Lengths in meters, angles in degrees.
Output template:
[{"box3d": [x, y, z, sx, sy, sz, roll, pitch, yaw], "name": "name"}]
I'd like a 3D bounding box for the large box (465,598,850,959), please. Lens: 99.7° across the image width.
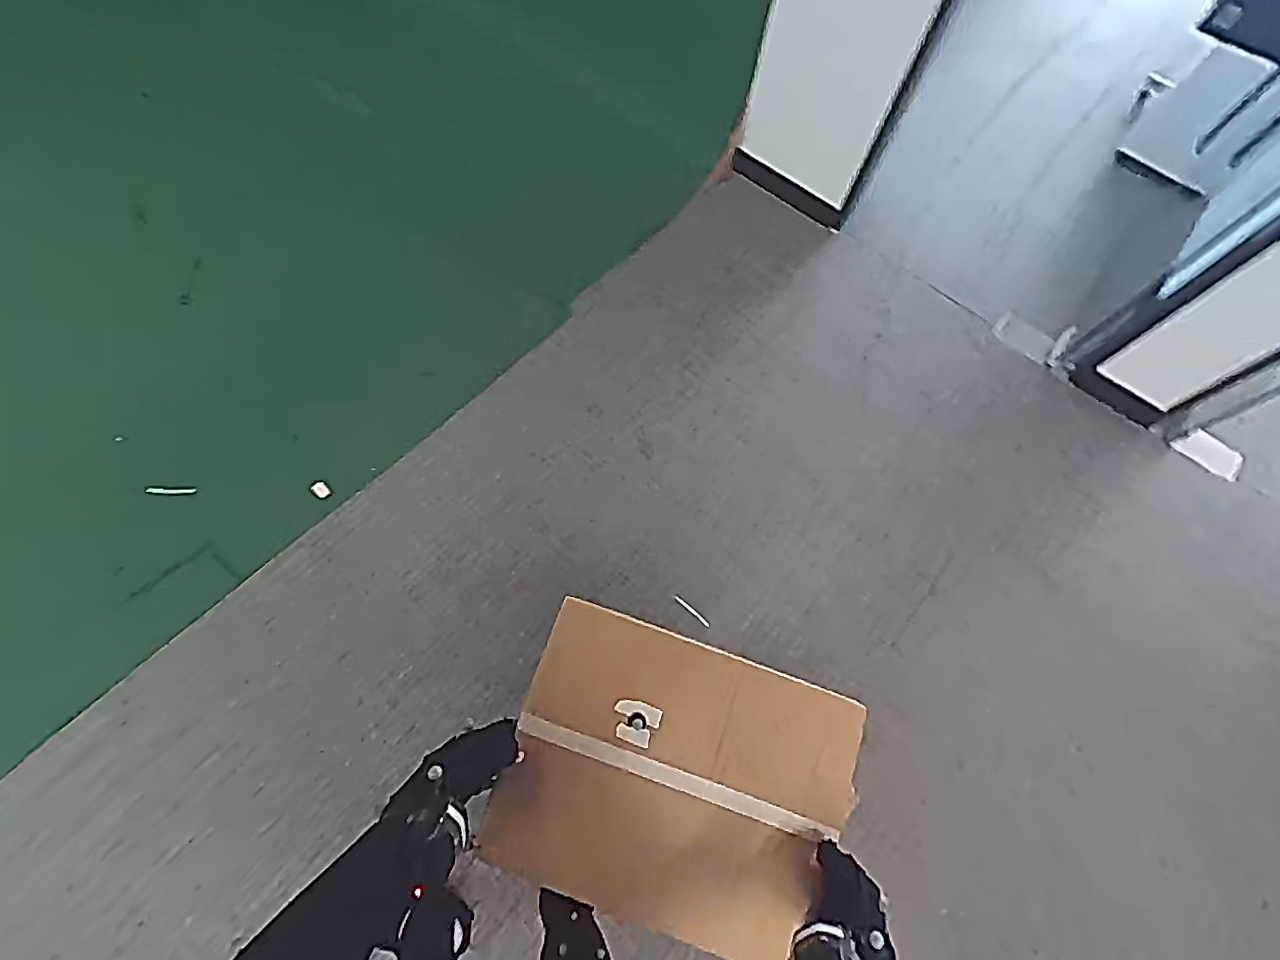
[{"box3d": [0.029, 0.386, 0.793, 0.408, 0.320, 0.320, 18, 75, 4], "name": "large box"}]
